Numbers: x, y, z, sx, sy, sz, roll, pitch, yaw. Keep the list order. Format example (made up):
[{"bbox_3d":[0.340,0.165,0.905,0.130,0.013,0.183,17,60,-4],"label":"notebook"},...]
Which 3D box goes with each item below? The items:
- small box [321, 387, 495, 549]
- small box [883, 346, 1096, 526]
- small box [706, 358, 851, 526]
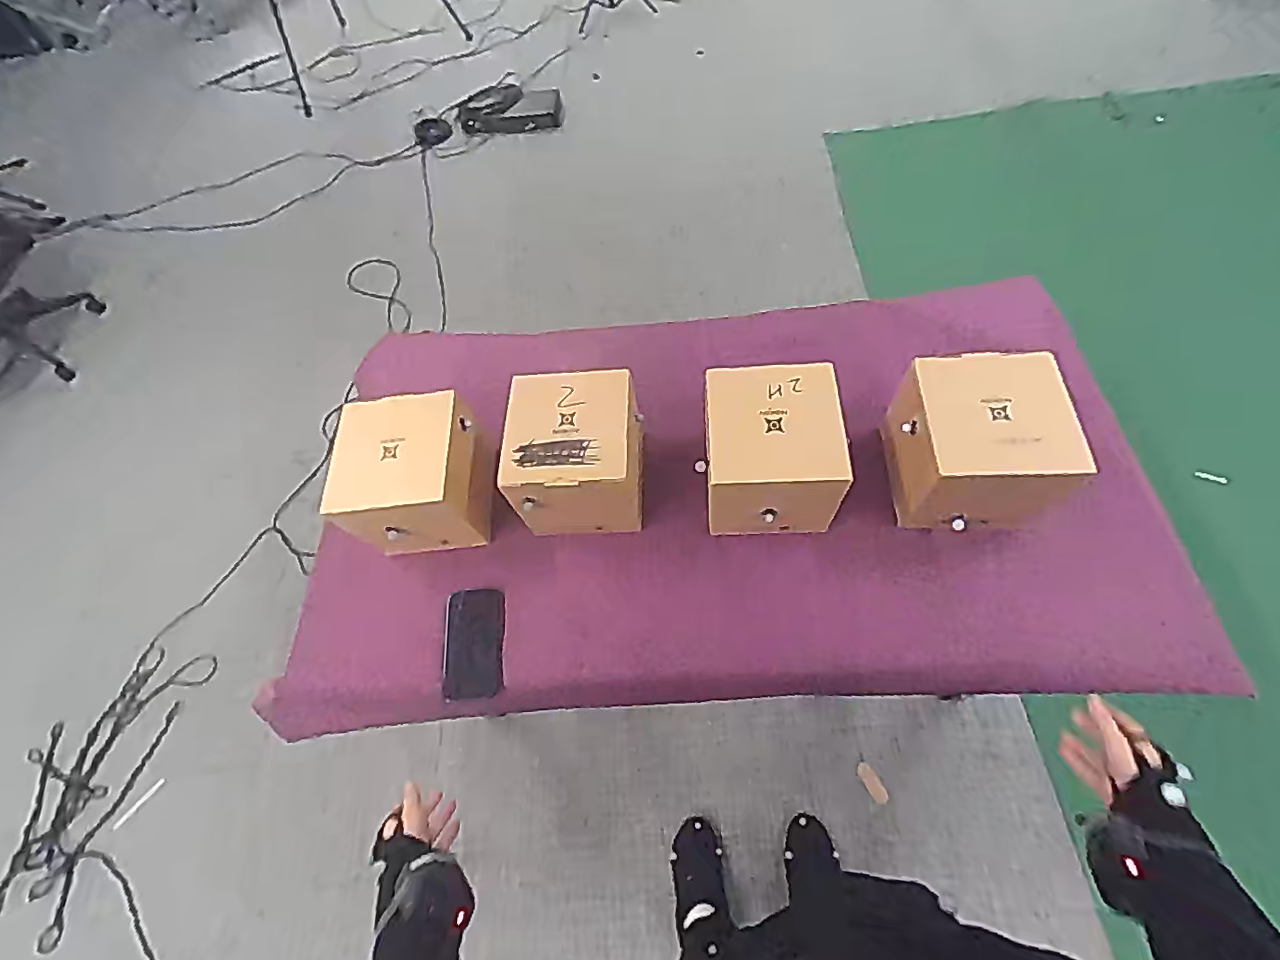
[{"bbox_3d":[-0.321,-0.008,0.788,0.168,0.176,0.179,-7,61,4],"label":"small box"},{"bbox_3d":[0.435,-0.052,0.712,0.168,0.176,0.179,-1,63,8],"label":"small box"},{"bbox_3d":[0.176,-0.043,0.740,0.168,0.176,0.179,-1,62,6],"label":"small box"}]
